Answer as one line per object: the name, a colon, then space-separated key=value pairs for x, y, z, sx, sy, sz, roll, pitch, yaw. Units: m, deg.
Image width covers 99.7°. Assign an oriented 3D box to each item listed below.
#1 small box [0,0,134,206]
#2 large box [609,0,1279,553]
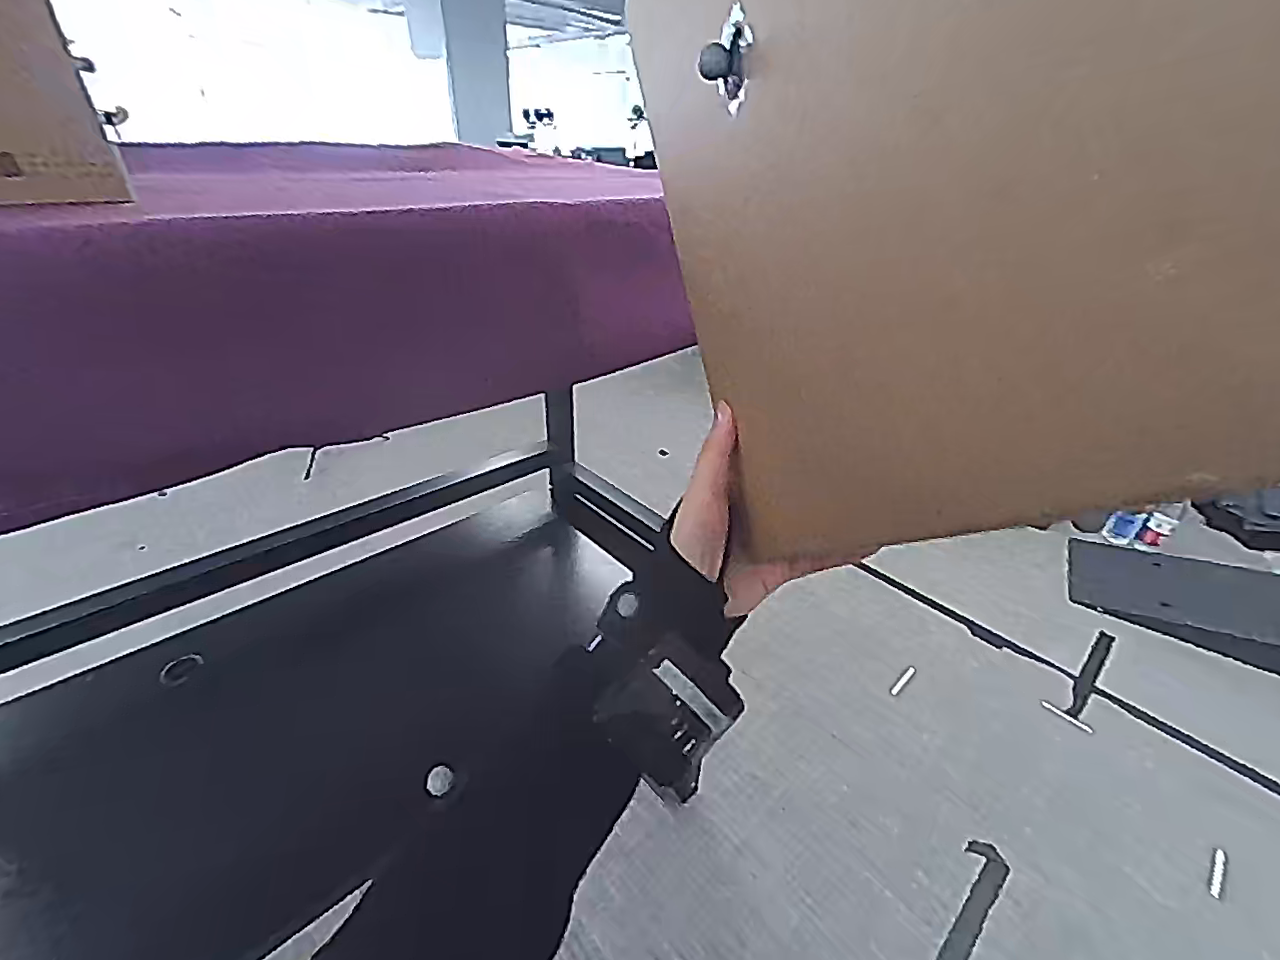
small box: x=-0.491 y=-0.288 z=0.368 sx=0.168 sy=0.176 sz=0.179 roll=-25 pitch=42 yaw=-35
large box: x=0.181 y=-0.206 z=0.239 sx=0.320 sy=0.320 sz=0.408 roll=-11 pitch=79 yaw=-10
